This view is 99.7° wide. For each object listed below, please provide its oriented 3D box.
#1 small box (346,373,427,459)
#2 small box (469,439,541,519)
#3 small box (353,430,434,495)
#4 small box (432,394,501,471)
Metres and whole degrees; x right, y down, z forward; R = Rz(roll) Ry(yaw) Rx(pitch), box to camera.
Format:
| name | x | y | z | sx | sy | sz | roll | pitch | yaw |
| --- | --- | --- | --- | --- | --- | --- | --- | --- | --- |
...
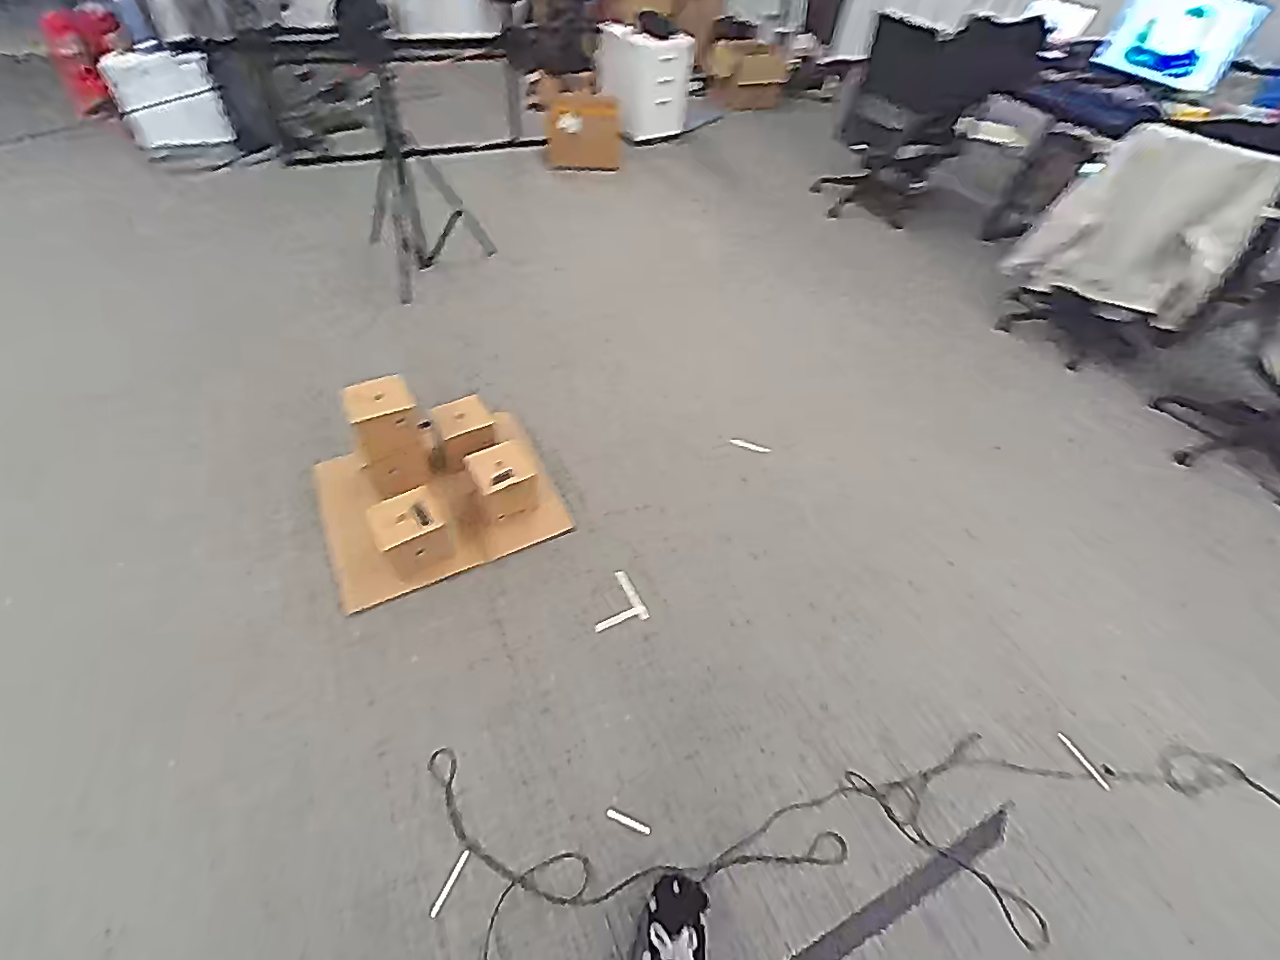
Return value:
| name | x | y | z | sx | sy | sz | roll | pitch | yaw |
| --- | --- | --- | --- | --- | --- | --- | --- | --- | --- |
| small box | -0.762 | -0.192 | 1.642 | 0.179 | 0.176 | 0.168 | -20 | 55 | -21 |
| small box | -0.427 | 0.004 | 1.733 | 0.168 | 0.176 | 0.179 | -23 | 56 | -23 |
| small box | -0.797 | -0.080 | 1.760 | 0.179 | 0.176 | 0.168 | -24 | 57 | -23 |
| small box | -0.587 | -0.162 | 1.856 | 0.179 | 0.176 | 0.168 | -24 | 56 | -23 |
